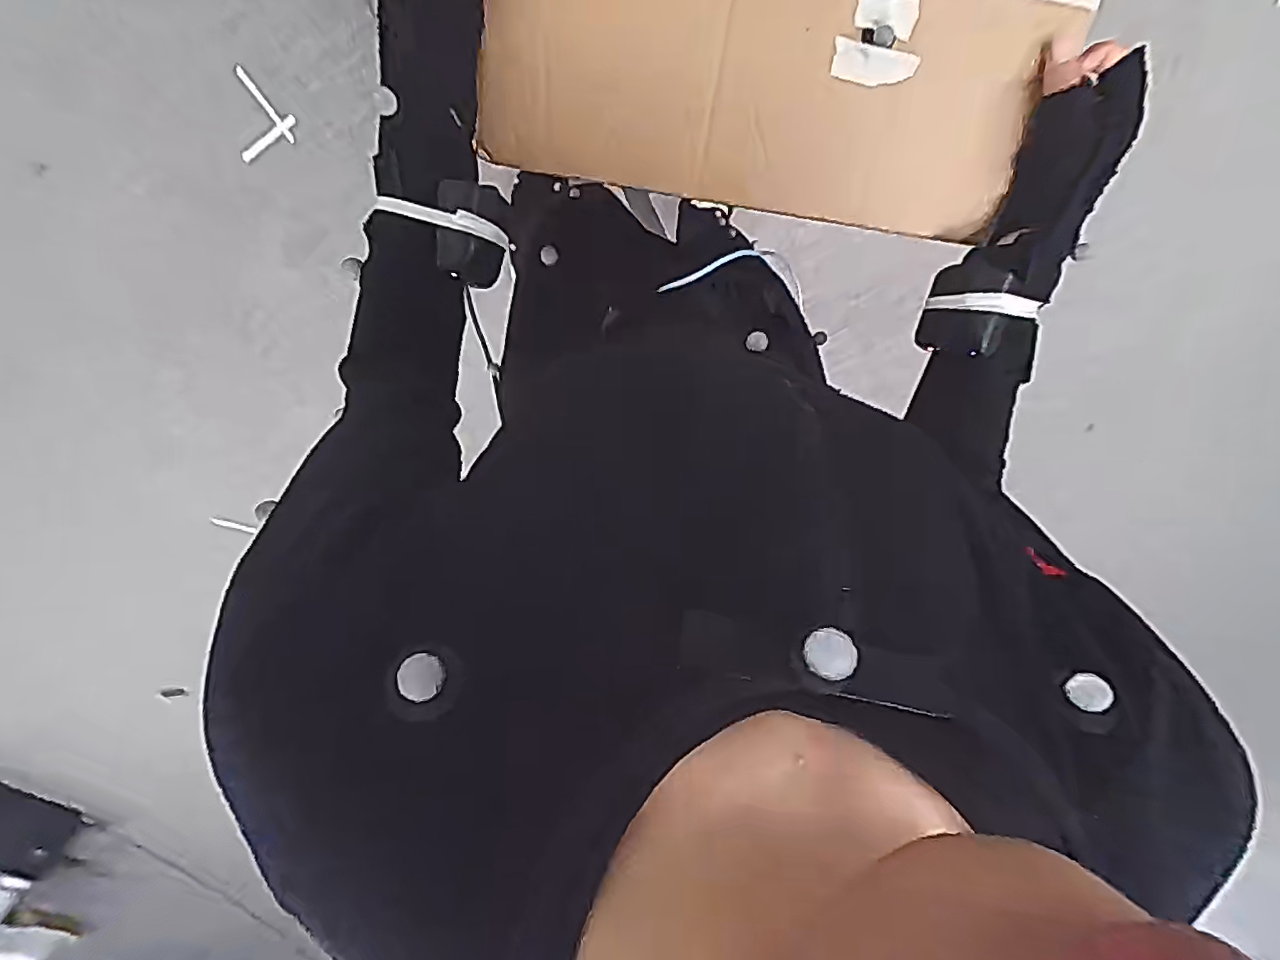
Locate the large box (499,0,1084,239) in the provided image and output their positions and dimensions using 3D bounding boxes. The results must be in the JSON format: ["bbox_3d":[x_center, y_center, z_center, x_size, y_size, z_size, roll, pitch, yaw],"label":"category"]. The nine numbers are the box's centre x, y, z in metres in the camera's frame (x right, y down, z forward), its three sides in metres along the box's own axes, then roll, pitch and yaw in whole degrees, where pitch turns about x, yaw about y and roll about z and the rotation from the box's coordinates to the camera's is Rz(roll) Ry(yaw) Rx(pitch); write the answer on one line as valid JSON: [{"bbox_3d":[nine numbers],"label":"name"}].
[{"bbox_3d":[0.104,-0.428,0.479,0.408,0.320,0.320,7,123,-5],"label":"large box"}]
